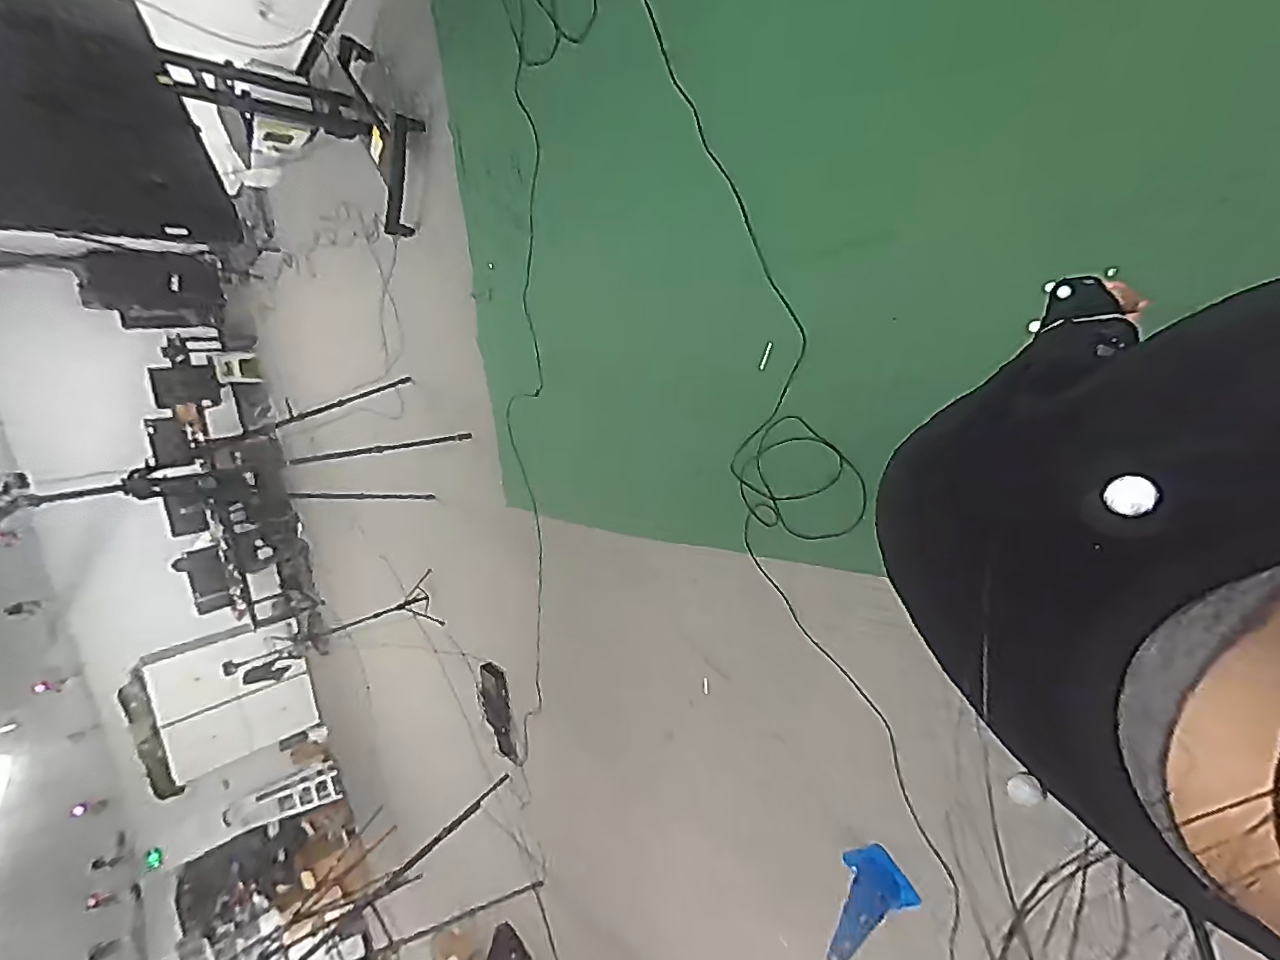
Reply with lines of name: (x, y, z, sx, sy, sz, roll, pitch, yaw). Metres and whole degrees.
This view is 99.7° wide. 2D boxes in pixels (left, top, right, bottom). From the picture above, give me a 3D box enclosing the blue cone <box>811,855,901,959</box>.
blue cone: (0.637, 1.399, 1.693, 0.192, 0.380, 0.193, 51, 134, 21)
